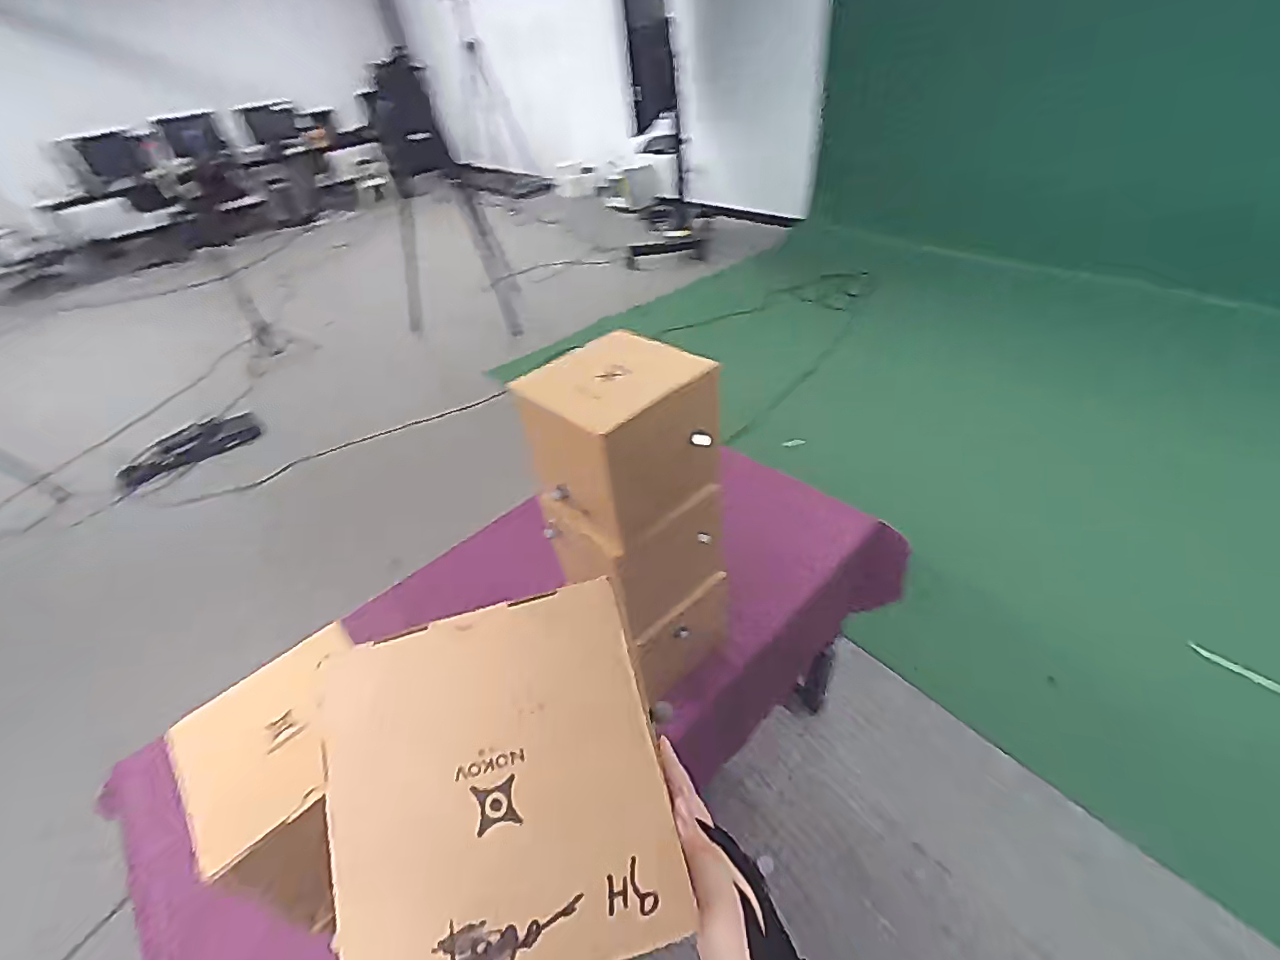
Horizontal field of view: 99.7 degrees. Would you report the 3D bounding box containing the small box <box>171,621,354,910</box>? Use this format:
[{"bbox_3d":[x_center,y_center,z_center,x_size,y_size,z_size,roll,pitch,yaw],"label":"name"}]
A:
[{"bbox_3d":[-0.327,0.291,0.559,0.168,0.176,0.179,-36,48,-29],"label":"small box"}]

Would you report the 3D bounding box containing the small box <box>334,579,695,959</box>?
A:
[{"bbox_3d":[-0.071,0.181,0.352,0.168,0.176,0.179,-14,71,-3],"label":"small box"}]

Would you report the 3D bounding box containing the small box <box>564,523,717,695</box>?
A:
[{"bbox_3d":[0.009,0.204,0.855,0.179,0.176,0.168,-33,46,-27],"label":"small box"}]

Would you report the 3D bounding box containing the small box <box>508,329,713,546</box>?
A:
[{"bbox_3d":[-0.028,-0.056,0.658,0.179,0.176,0.168,-35,47,-28],"label":"small box"}]
